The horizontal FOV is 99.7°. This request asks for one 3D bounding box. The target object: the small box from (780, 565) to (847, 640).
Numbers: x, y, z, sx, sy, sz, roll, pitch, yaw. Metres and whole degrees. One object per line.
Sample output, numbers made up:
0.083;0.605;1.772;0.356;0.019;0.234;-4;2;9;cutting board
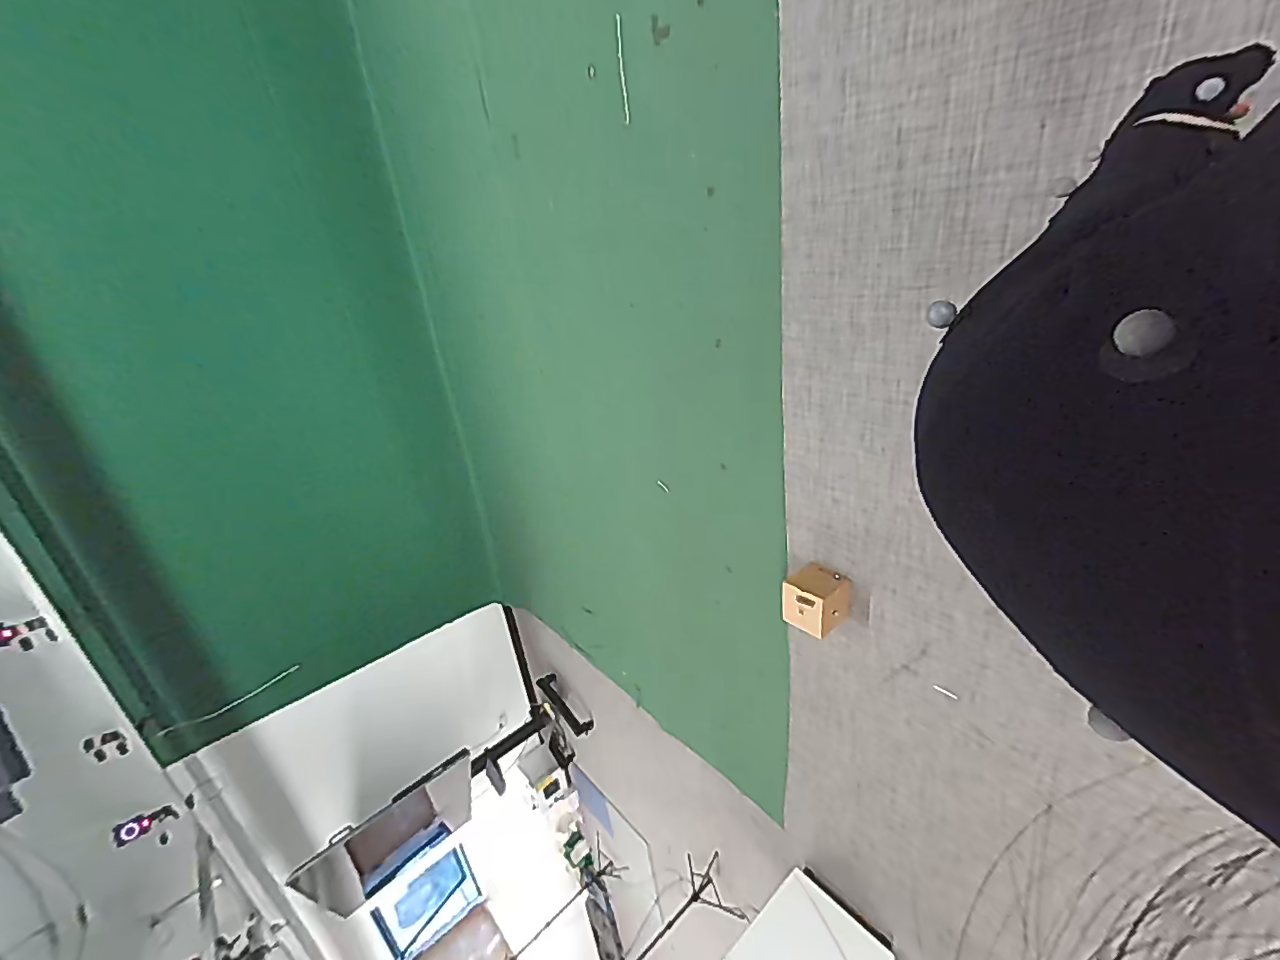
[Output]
0.625;0.433;1.945;0.168;0.176;0.179;22;127;46;small box
